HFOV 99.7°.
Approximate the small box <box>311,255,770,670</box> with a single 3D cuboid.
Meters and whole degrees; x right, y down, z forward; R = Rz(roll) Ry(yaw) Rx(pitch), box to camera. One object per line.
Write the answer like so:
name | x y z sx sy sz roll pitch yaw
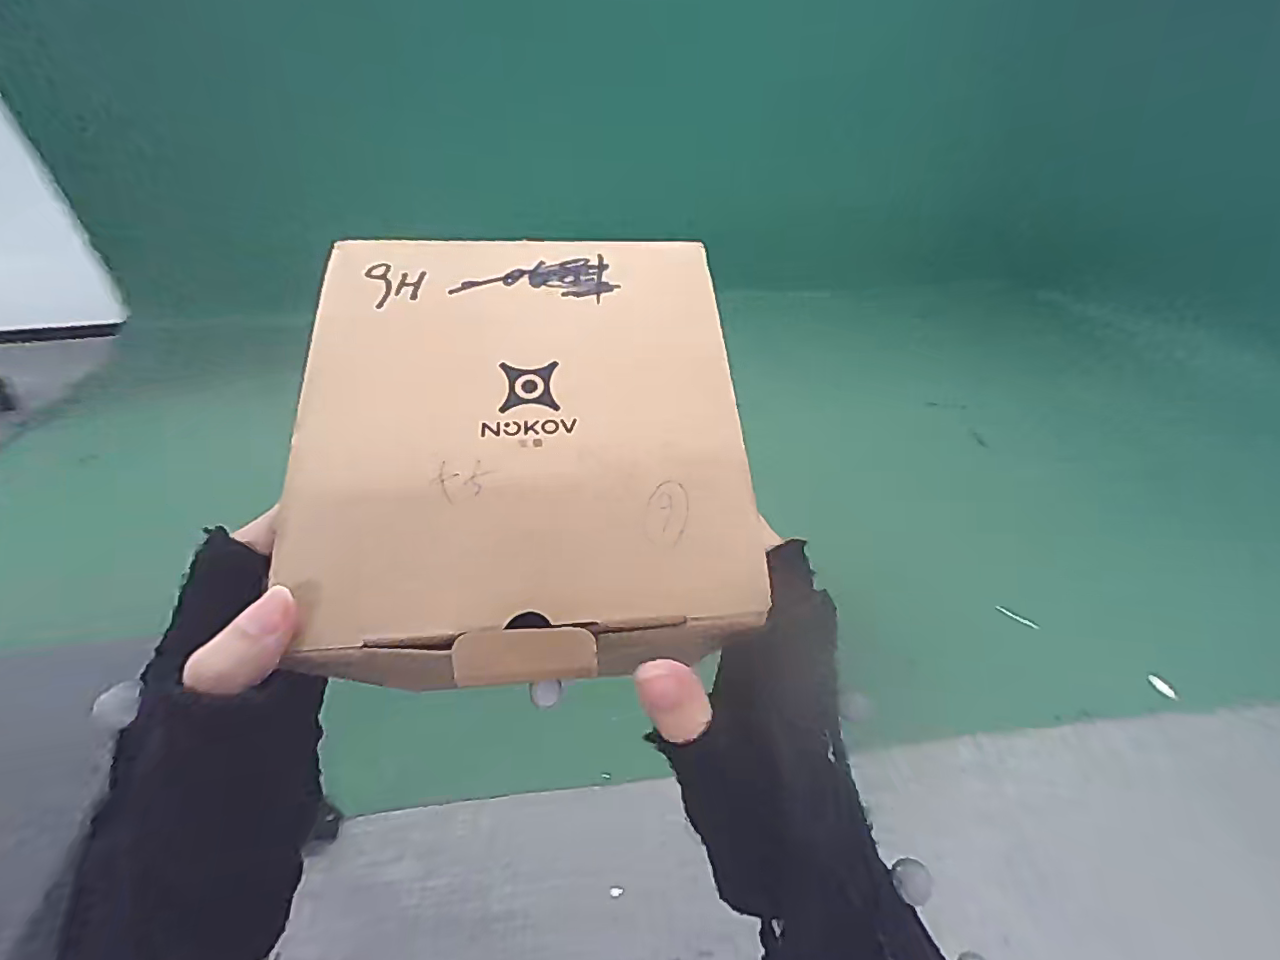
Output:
small box | -0.042 0.007 0.295 0.168 0.176 0.179 -2 67 -5
